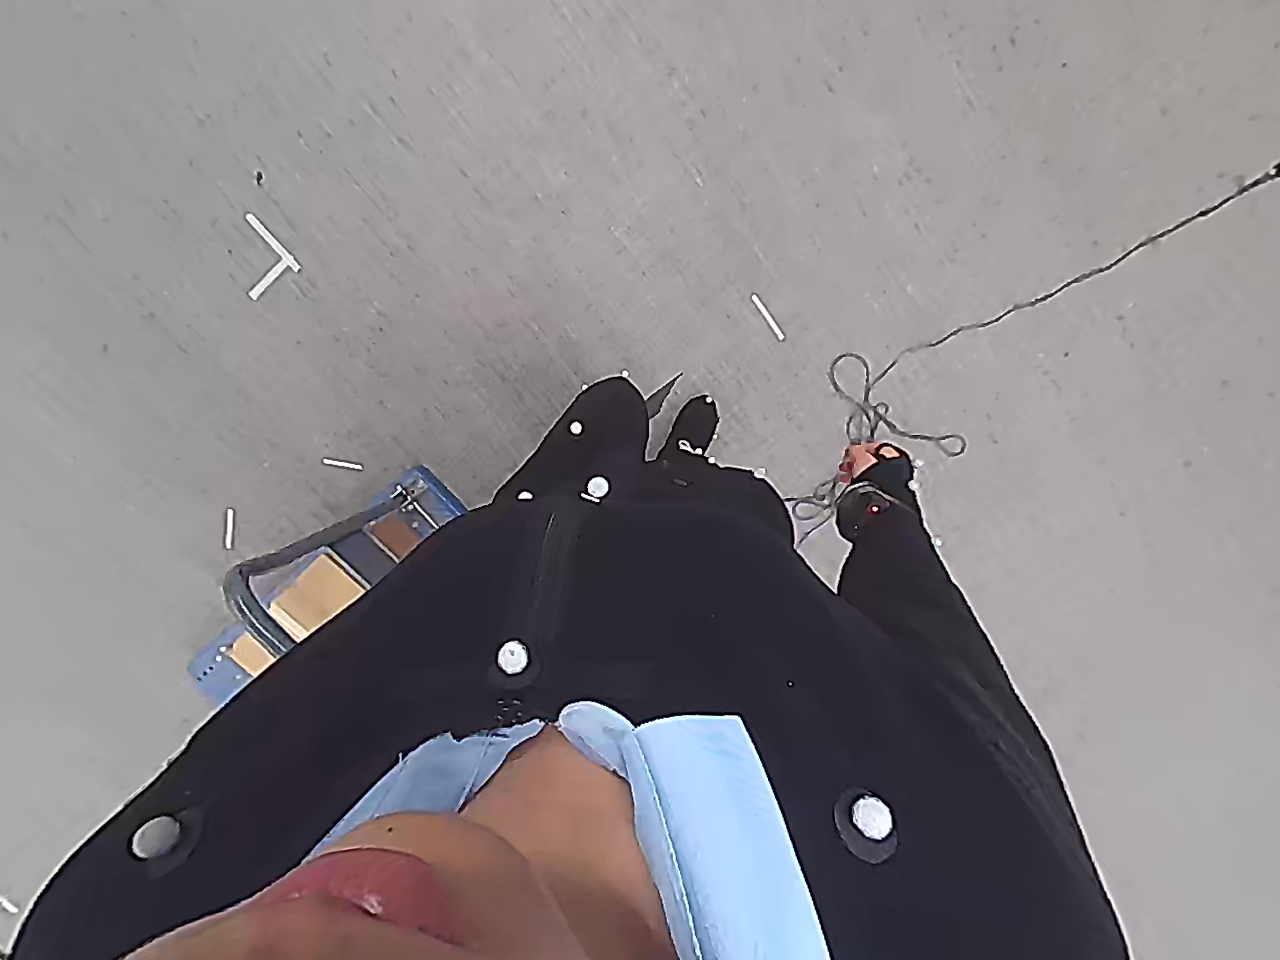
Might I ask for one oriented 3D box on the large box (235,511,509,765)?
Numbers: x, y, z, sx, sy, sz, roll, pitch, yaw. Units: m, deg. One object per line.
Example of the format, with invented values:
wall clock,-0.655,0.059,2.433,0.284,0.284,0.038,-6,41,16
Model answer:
large box,-0.581,0.343,1.253,0.320,0.320,0.408,-43,97,7
